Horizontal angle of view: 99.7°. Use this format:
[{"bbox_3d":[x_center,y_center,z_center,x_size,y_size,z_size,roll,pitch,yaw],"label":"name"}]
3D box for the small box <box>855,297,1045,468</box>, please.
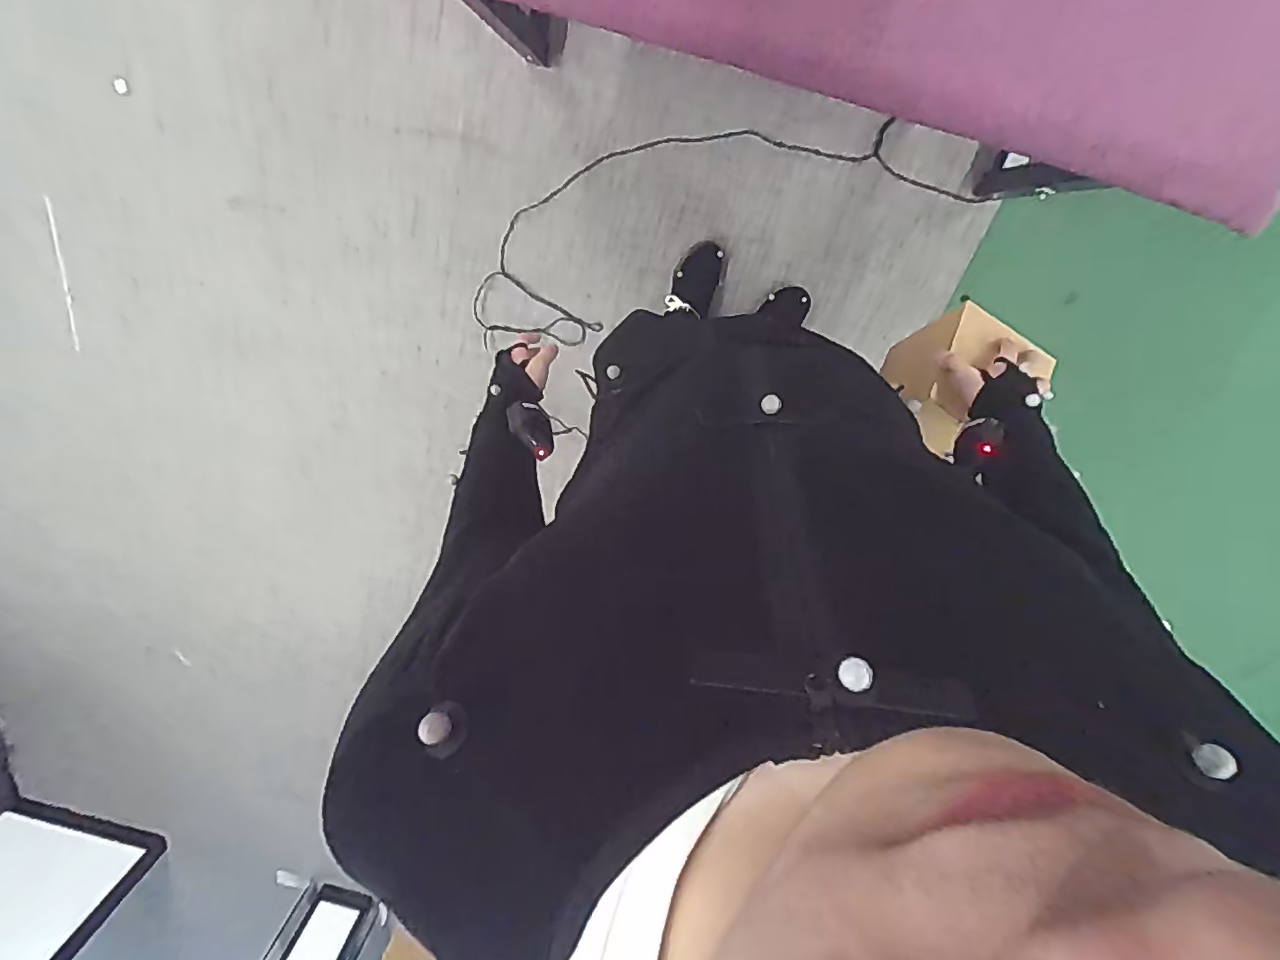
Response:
[{"bbox_3d":[0.465,-0.137,0.836,0.168,0.176,0.179,31,75,-7],"label":"small box"}]
